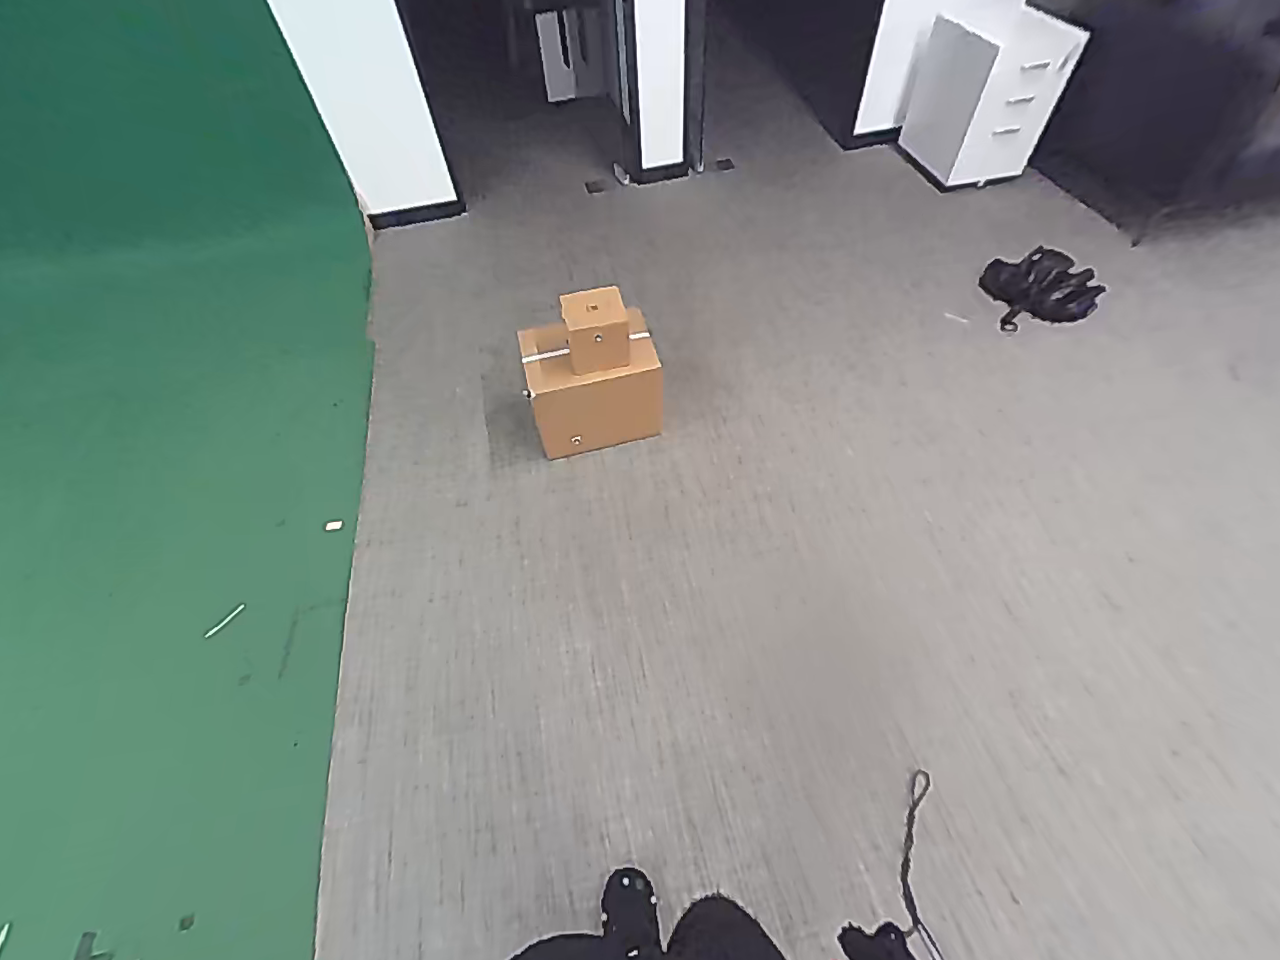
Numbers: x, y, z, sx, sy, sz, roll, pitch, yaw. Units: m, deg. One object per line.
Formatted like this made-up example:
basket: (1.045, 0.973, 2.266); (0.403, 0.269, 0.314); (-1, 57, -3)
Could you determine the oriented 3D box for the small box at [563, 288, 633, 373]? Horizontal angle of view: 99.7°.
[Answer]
small box: (-0.122, -0.437, 1.603); (0.179, 0.176, 0.168); (-11, 56, -6)
